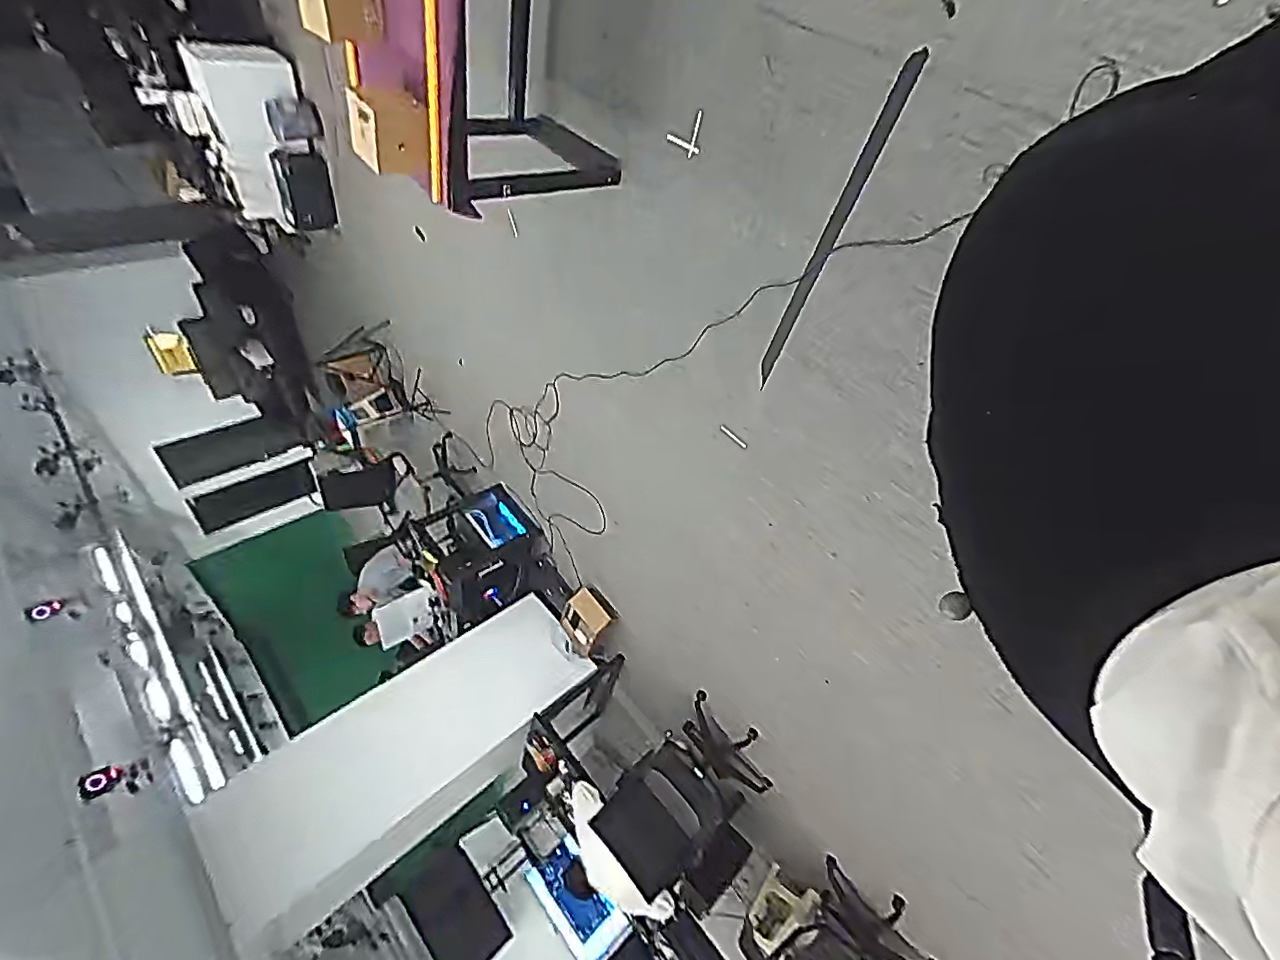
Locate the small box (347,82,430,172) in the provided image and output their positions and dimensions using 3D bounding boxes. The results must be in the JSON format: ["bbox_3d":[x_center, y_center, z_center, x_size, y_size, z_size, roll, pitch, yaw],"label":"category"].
[{"bbox_3d":[-0.745,-1.055,1.617,0.168,0.176,0.179,47,142,19],"label":"small box"}]

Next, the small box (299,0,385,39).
[{"bbox_3d":[-0.853,-1.376,1.532,0.179,0.176,0.168,42,142,23],"label":"small box"}]
